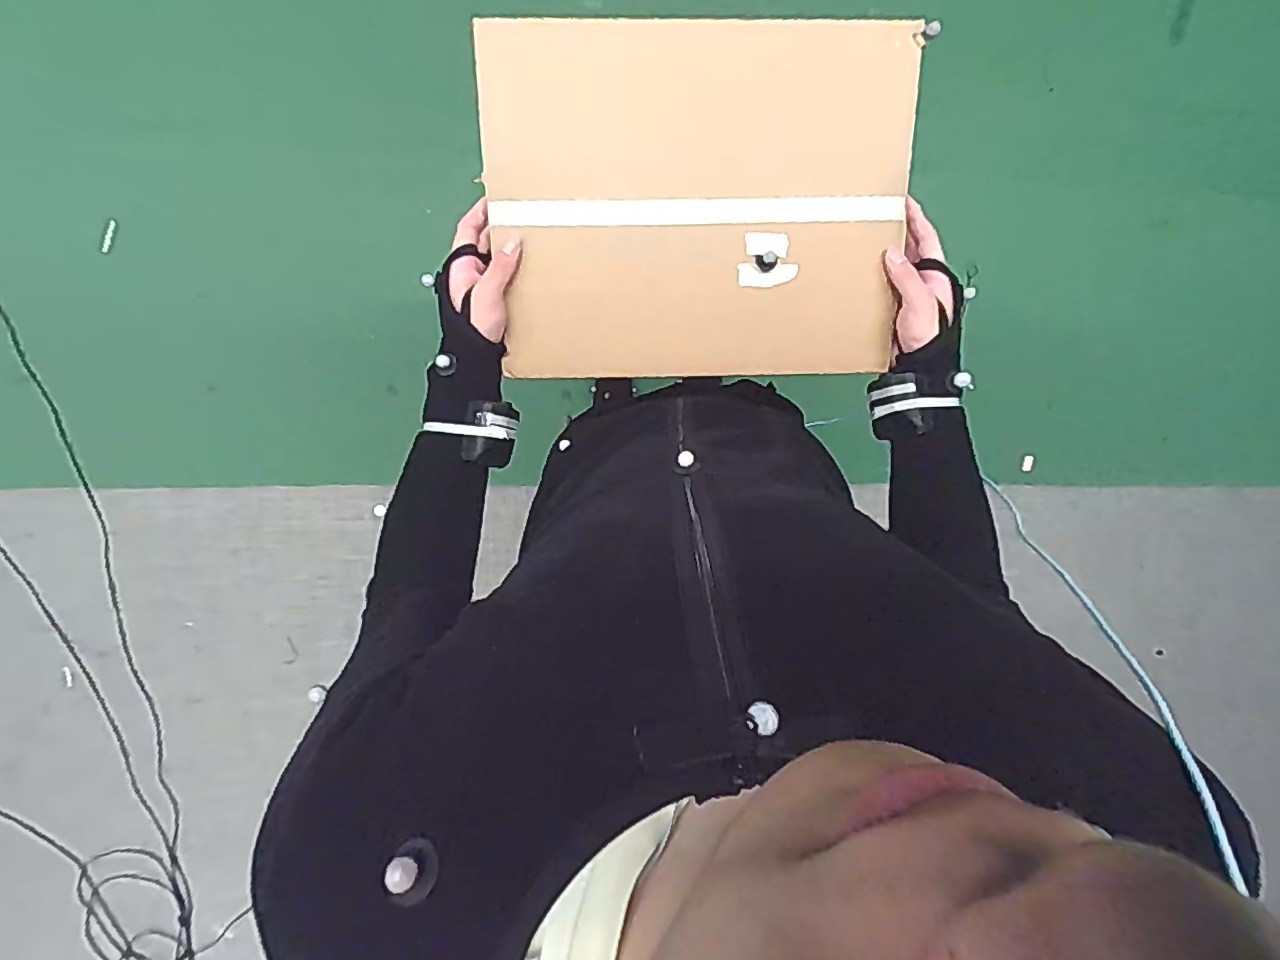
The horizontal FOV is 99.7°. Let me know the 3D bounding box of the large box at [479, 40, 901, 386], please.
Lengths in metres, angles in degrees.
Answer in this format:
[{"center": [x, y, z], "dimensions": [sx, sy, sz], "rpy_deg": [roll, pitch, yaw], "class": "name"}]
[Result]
[{"center": [0.046, -0.294, 0.683], "dimensions": [0.408, 0.320, 0.320], "rpy_deg": [-2, 105, -2], "class": "large box"}]
